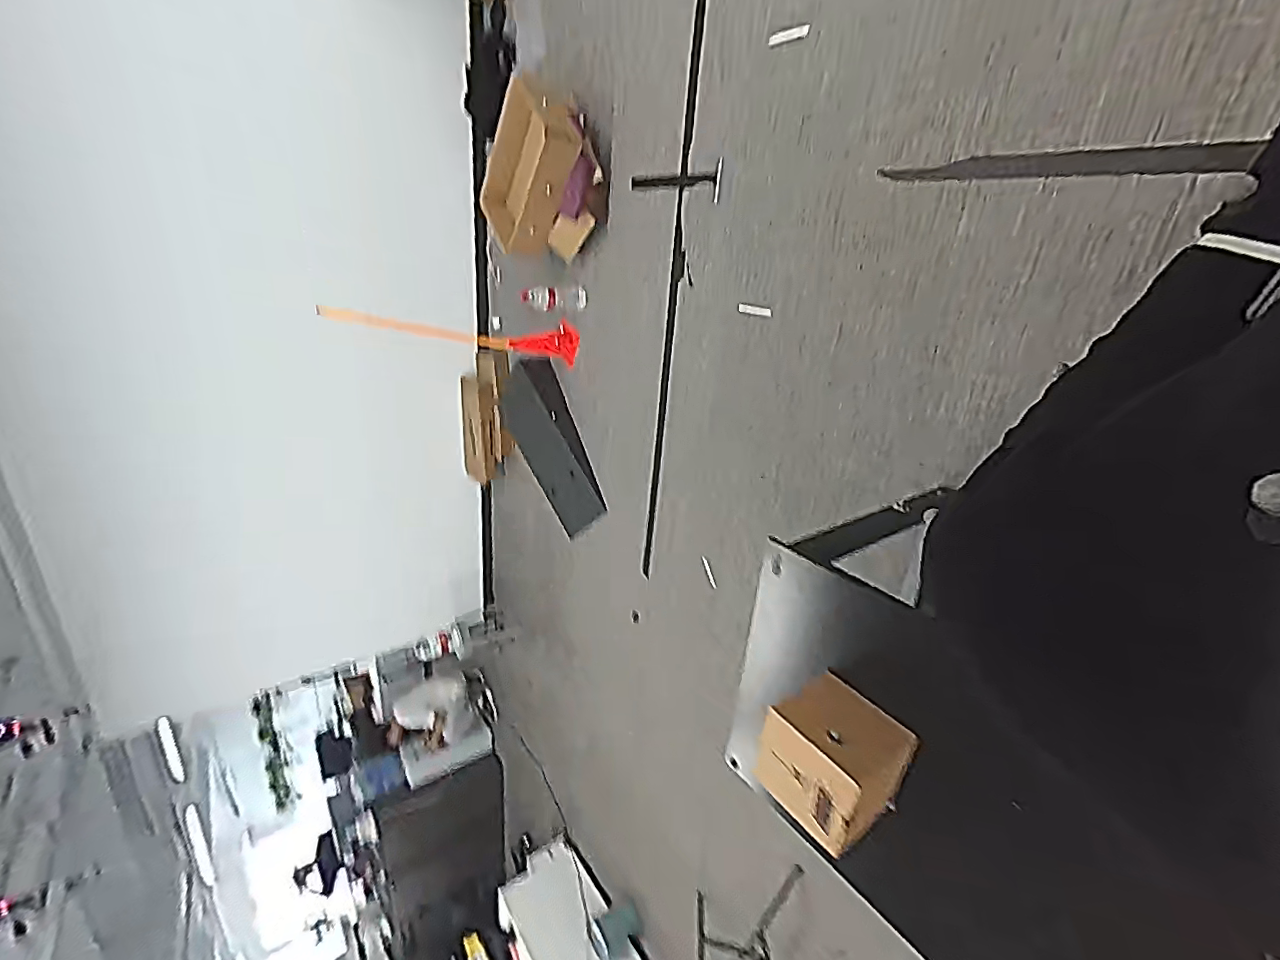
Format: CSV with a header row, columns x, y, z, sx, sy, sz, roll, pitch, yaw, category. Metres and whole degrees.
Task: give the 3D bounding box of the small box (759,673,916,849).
x,y,z,sx,sy,sz,roll,pitch,yaw,category
0.336,0.466,0.927,0.179,0.176,0.168,32,125,46,small box
